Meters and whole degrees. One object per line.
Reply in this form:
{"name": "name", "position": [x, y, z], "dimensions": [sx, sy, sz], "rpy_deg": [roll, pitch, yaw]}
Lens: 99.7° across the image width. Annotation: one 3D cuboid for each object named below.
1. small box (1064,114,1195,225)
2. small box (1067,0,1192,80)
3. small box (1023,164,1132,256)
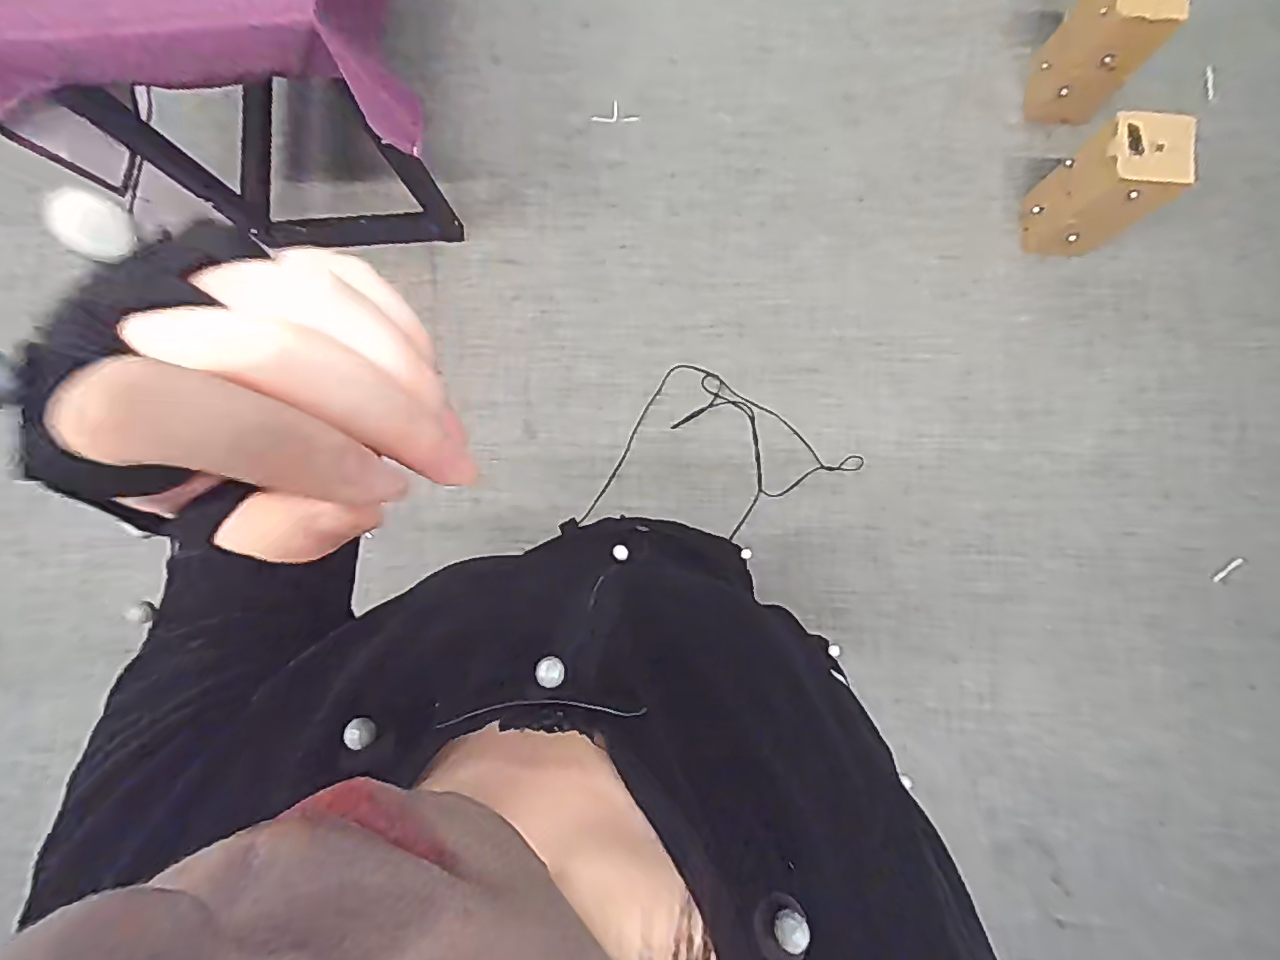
{"name": "small box", "position": [1.174, -0.743, 1.309], "dimensions": [0.179, 0.176, 0.168], "rpy_deg": [5, 86, 1]}
{"name": "small box", "position": [1.204, -1.146, 1.340], "dimensions": [0.168, 0.176, 0.179], "rpy_deg": [5, 86, 2]}
{"name": "small box", "position": [1.183, -0.728, 1.473], "dimensions": [0.179, 0.176, 0.168], "rpy_deg": [4, 86, 3]}
